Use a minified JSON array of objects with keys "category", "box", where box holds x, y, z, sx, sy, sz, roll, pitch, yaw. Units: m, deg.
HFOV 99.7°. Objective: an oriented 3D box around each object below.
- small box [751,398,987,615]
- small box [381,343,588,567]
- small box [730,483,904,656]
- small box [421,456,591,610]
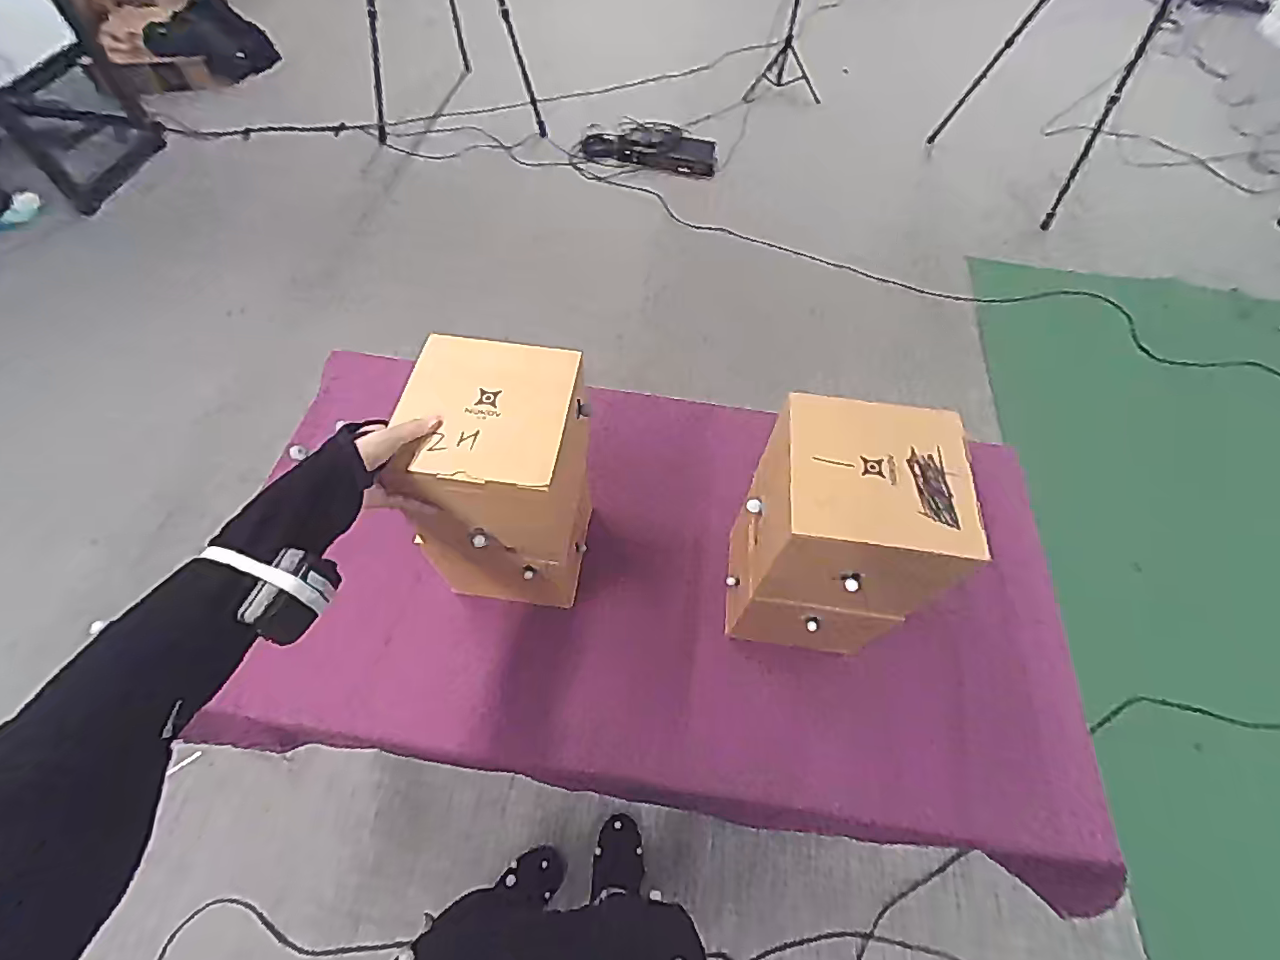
[{"category":"small box","box":[0.226,0.036,0.582,0.179,0.176,0.168,7,58,3]},{"category":"small box","box":[-0.152,-0.023,0.604,0.168,0.176,0.179,7,58,2]},{"category":"small box","box":[0.220,0.124,0.720,0.179,0.176,0.168,8,59,2]},{"category":"small box","box":[-0.167,0.067,0.742,0.179,0.176,0.168,7,58,1]}]
